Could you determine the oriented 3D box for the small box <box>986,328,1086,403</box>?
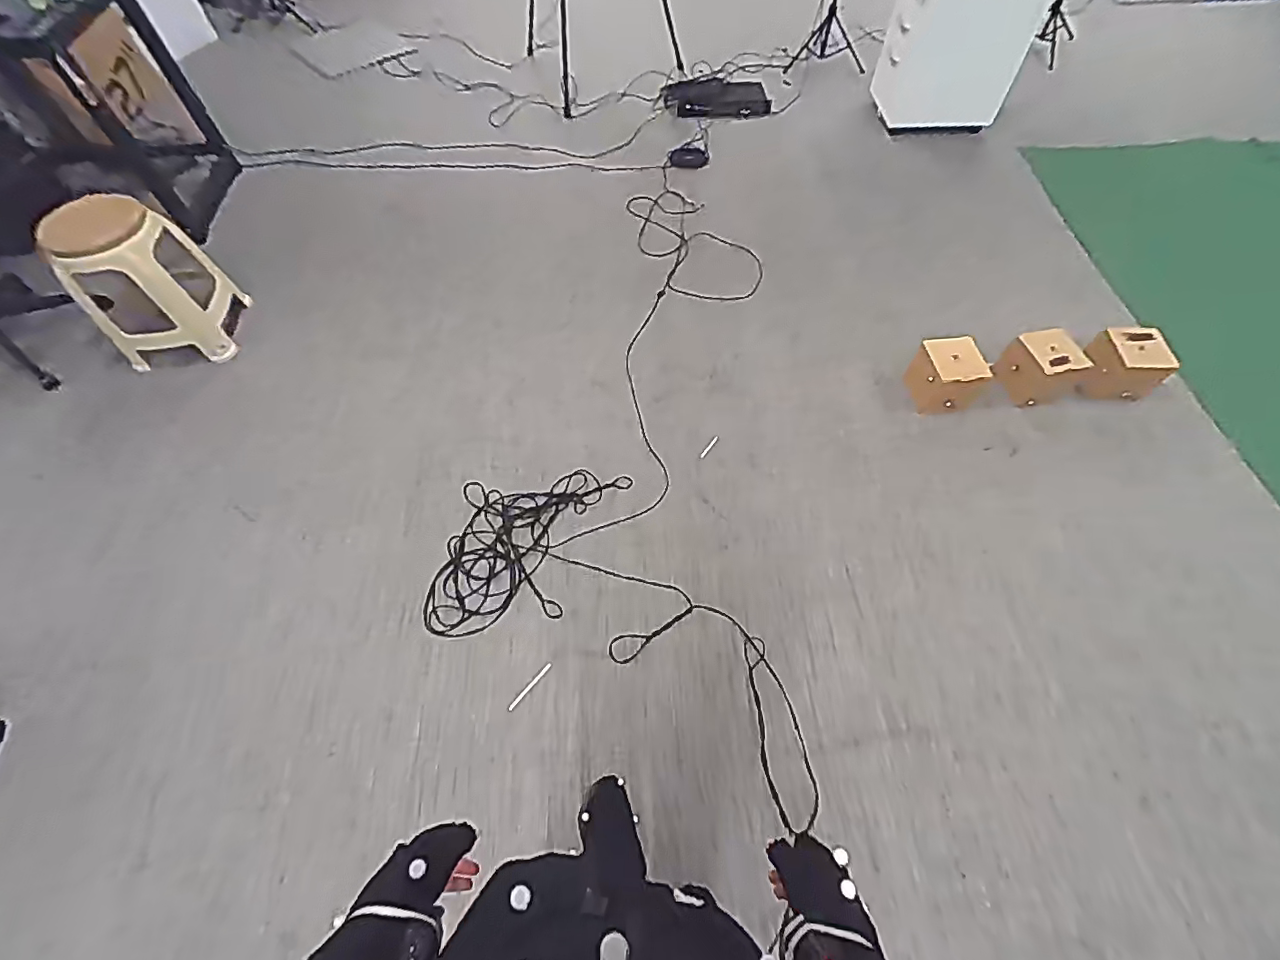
[{"bbox_3d":[1.305,-0.372,1.796,0.168,0.176,0.179,-10,58,-6],"label":"small box"}]

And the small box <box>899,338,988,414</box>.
[{"bbox_3d":[0.989,-0.341,1.781,0.168,0.176,0.179,-7,60,-3],"label":"small box"}]
